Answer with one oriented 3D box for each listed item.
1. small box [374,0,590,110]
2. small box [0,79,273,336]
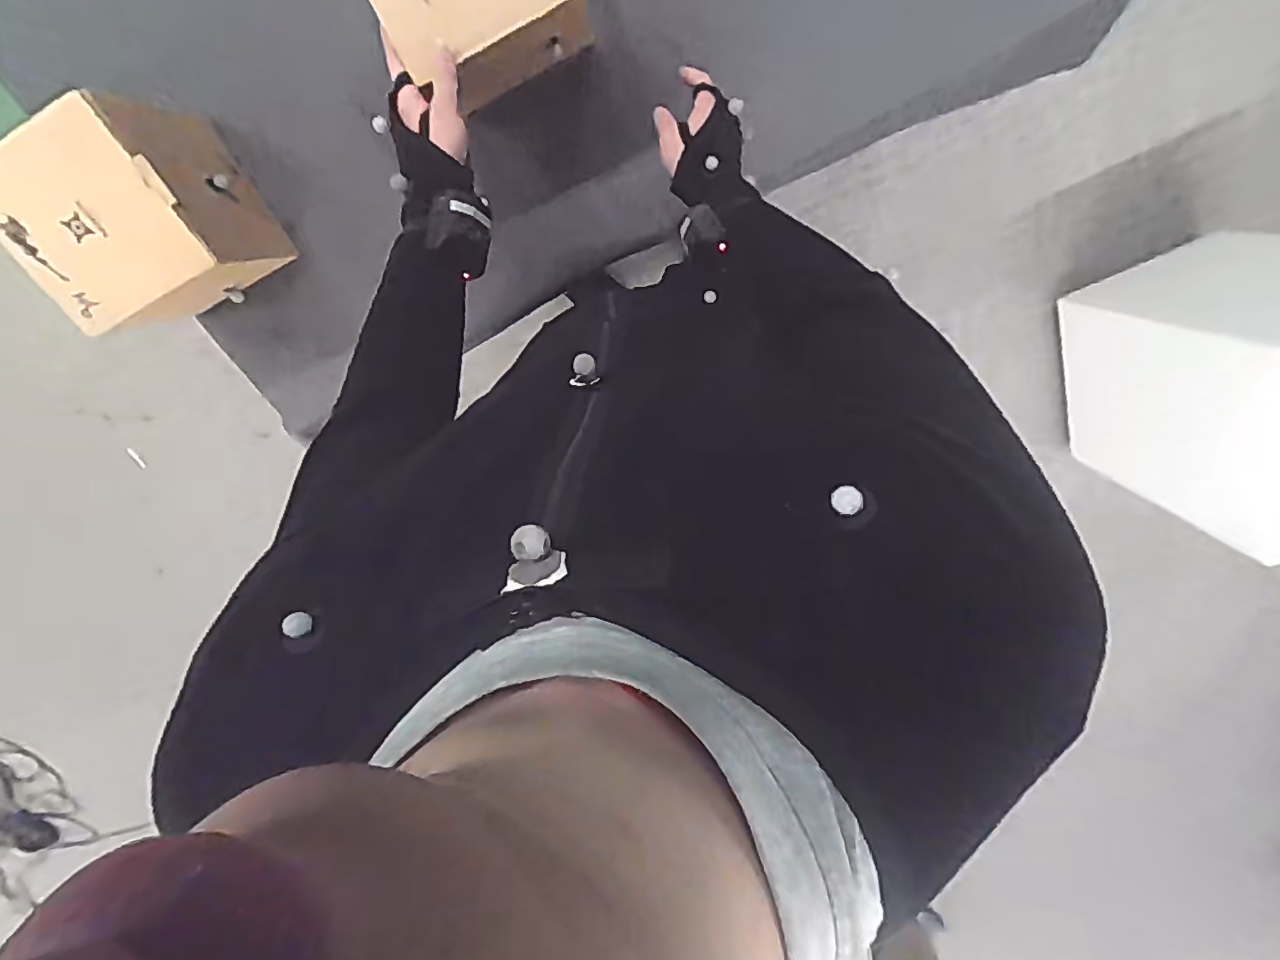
[{"bbox_3d":[-0.155,-0.483,0.502,0.179,0.176,0.168,-23,114,9],"label":"small box"},{"bbox_3d":[-0.537,-0.278,0.574,0.179,0.176,0.168,-25,114,7],"label":"small box"}]
